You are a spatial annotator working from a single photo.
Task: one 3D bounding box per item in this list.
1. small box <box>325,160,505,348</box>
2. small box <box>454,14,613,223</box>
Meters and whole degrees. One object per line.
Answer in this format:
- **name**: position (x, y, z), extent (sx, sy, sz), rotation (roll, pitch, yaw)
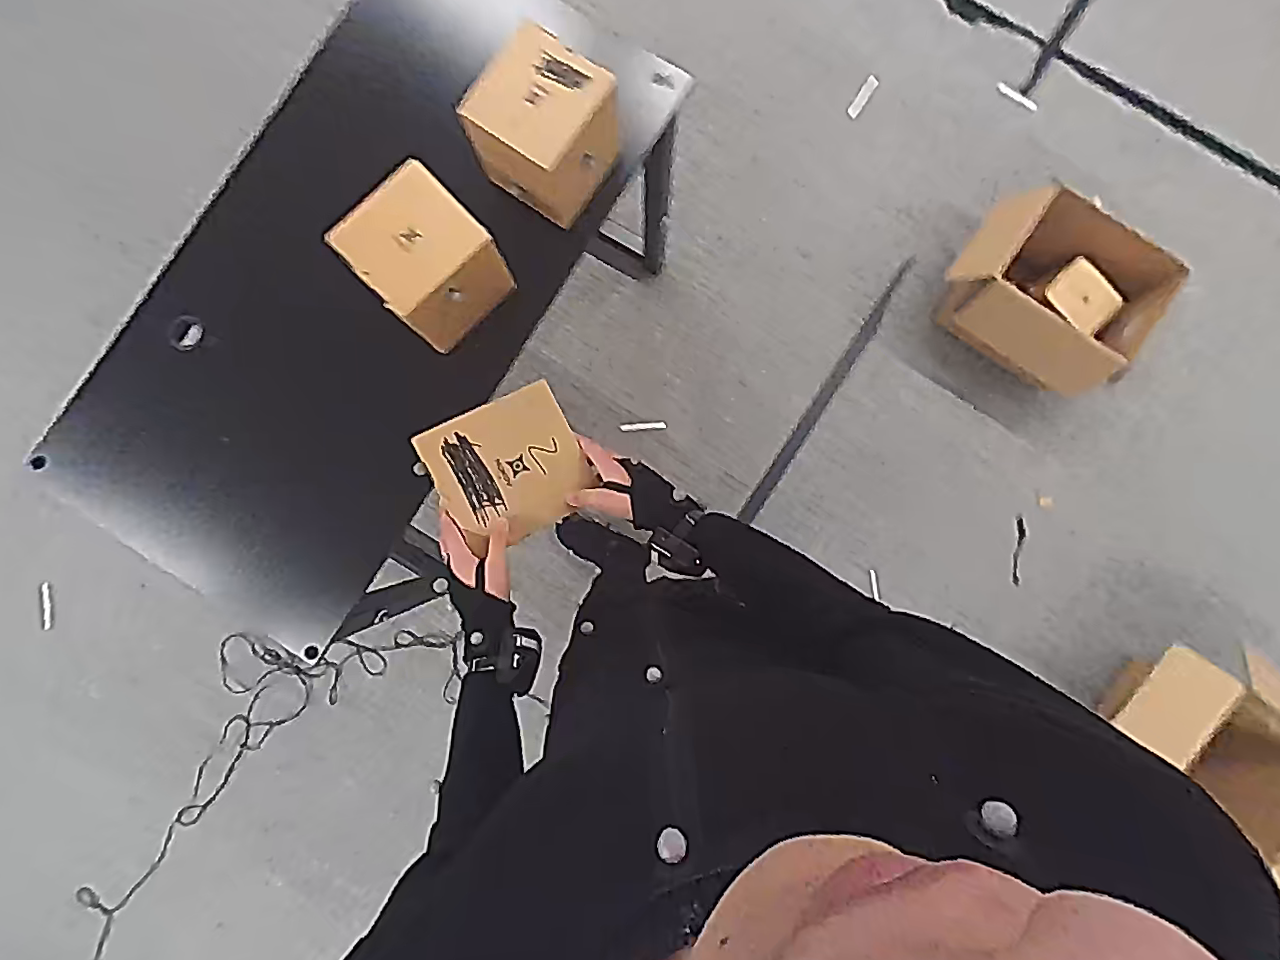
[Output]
- **small box**: position (-0.334, -0.341, 0.849), extent (0.179, 0.176, 0.168), rotation (-45, 87, -1)
- **small box**: position (-0.155, -0.557, 0.857), extent (0.168, 0.176, 0.179), rotation (34, 89, 3)
